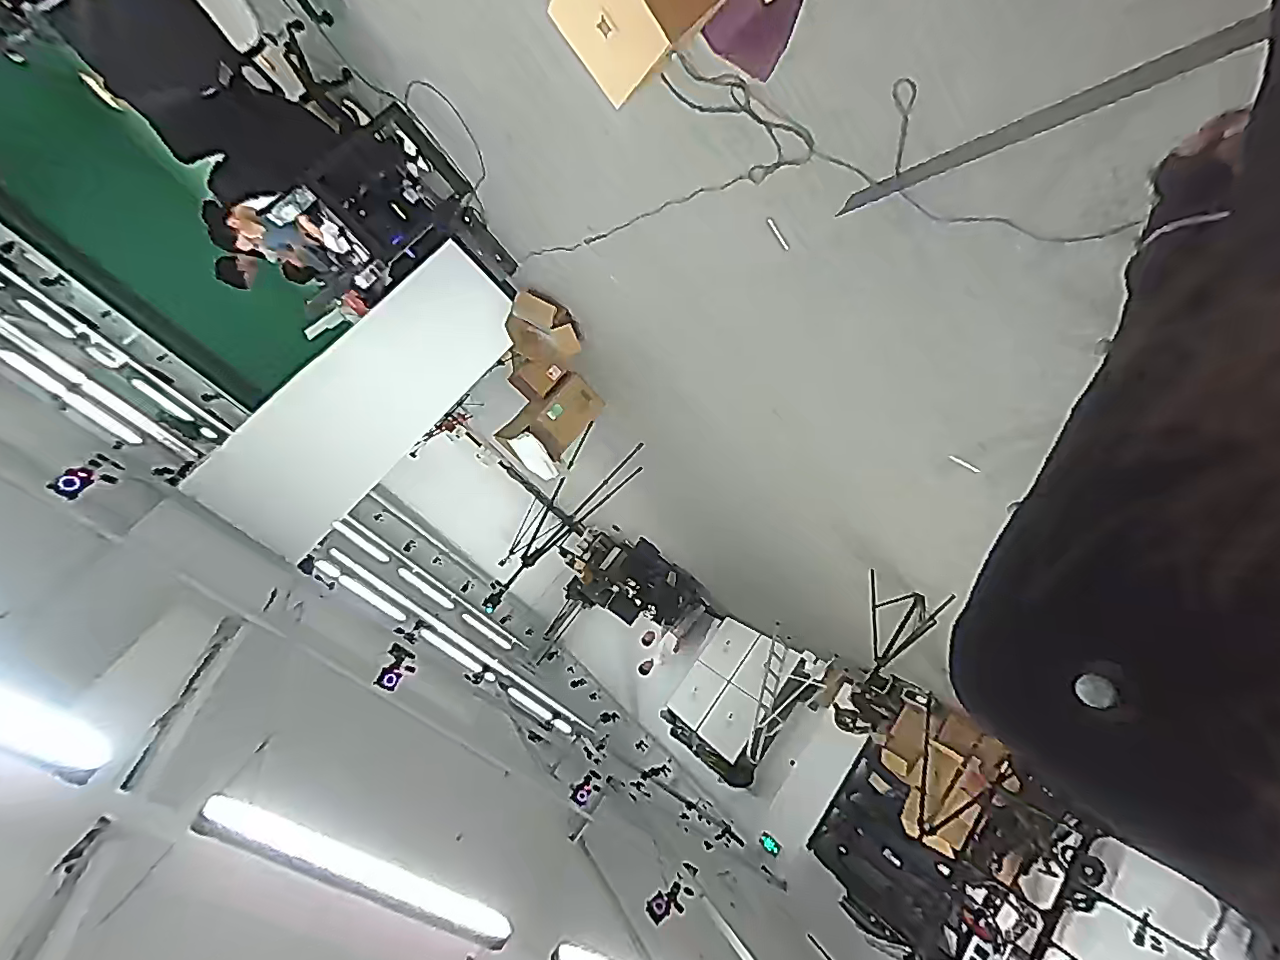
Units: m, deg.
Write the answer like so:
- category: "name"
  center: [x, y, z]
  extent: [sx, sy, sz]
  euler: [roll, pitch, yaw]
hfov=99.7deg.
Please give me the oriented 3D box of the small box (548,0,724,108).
- category: "small box"
  center: [0.000, -0.709, 0.794]
  extent: [0.168, 0.176, 0.179]
  euler: [46, 163, -23]
